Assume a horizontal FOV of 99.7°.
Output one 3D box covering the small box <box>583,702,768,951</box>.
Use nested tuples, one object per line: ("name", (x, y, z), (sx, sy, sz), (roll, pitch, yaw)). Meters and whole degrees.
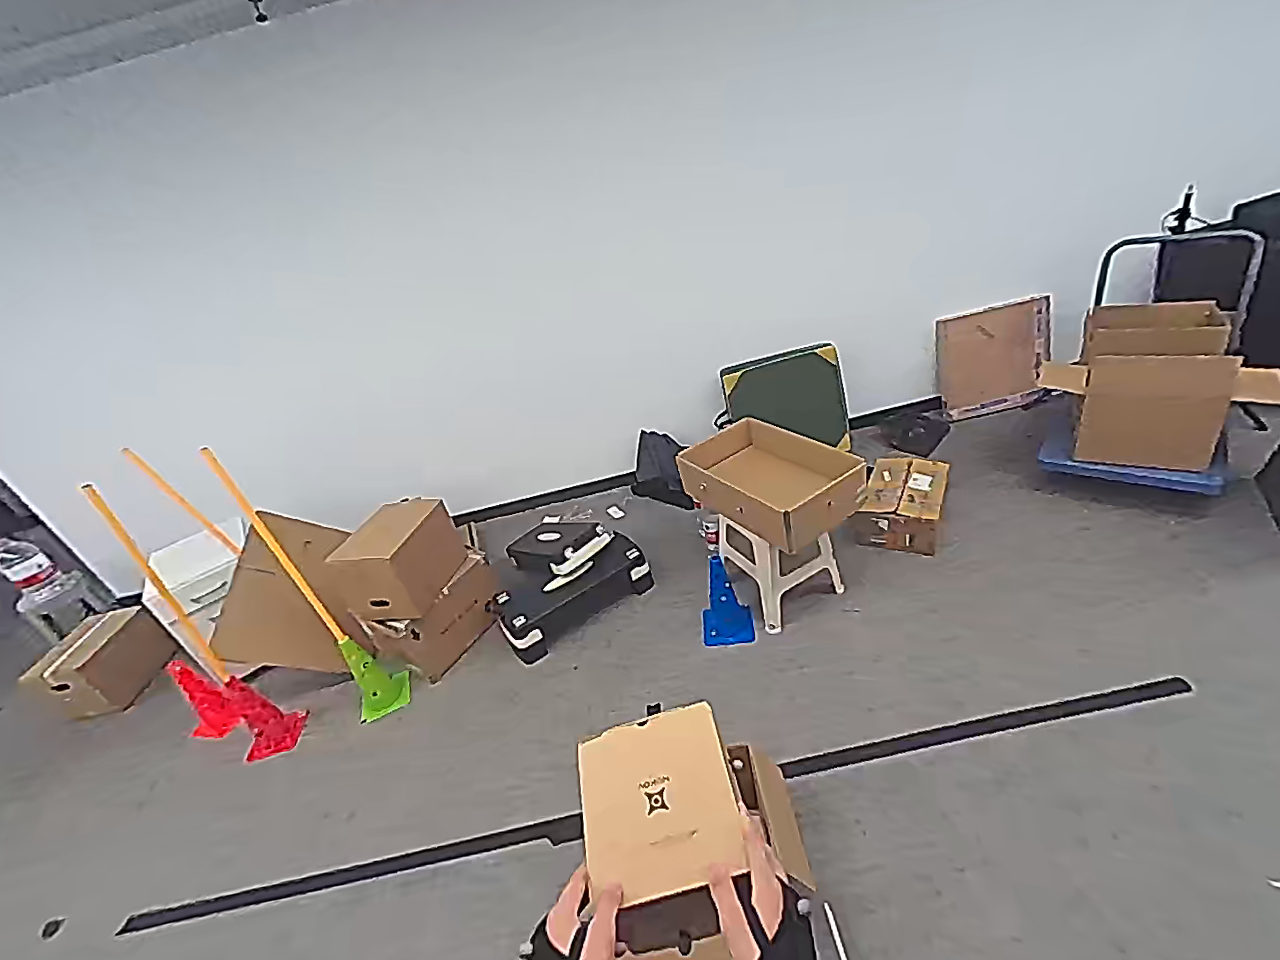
("small box", (0.038, 0.397, 0.625), (0.168, 0.176, 0.179), (-17, 36, 3))
